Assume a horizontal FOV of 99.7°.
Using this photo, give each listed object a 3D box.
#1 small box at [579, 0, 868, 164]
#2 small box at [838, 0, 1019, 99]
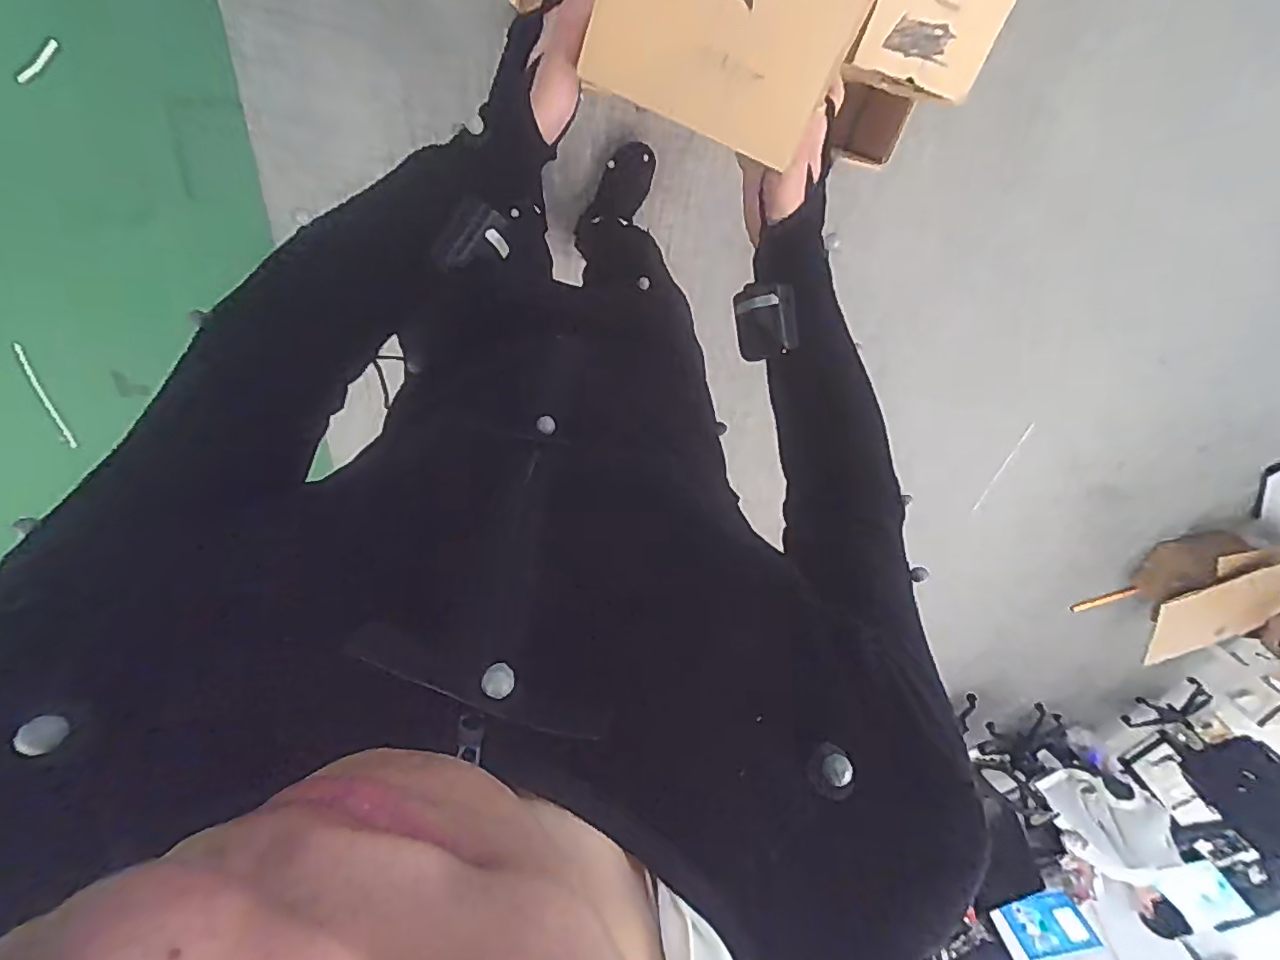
[{"bbox_3d":[0.058,-0.366,0.382,0.168,0.176,0.179,13,131,-17],"label":"small box"},{"bbox_3d":[0.332,-0.592,0.648,0.168,0.176,0.179,5,128,-16],"label":"small box"}]
